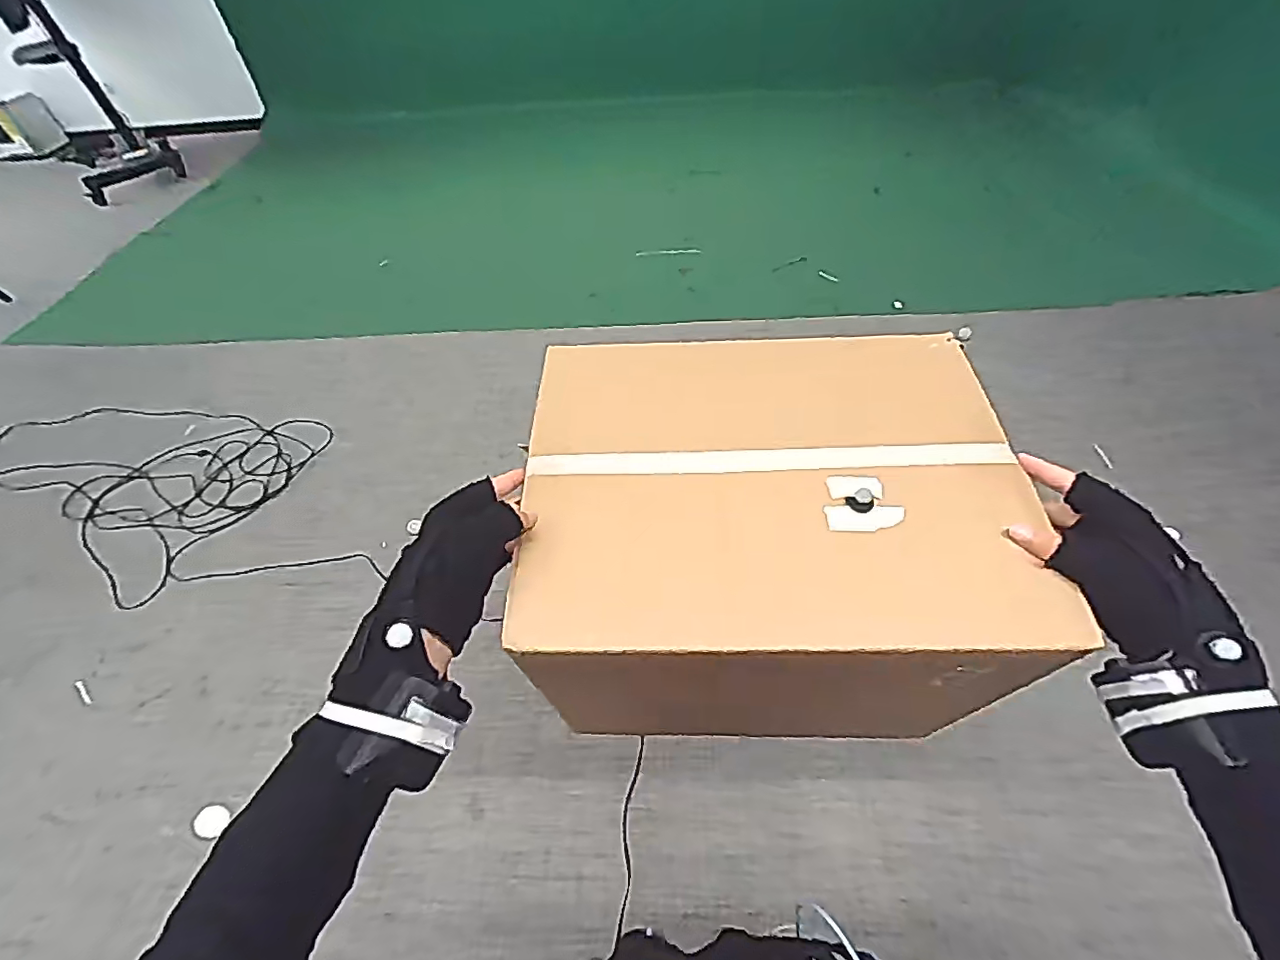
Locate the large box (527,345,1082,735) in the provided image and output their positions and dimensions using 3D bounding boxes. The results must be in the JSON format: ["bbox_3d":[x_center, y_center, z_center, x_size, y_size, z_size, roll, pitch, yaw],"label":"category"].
[{"bbox_3d":[0.118,0.078,0.589,0.408,0.320,0.320,-1,55,2],"label":"large box"}]
